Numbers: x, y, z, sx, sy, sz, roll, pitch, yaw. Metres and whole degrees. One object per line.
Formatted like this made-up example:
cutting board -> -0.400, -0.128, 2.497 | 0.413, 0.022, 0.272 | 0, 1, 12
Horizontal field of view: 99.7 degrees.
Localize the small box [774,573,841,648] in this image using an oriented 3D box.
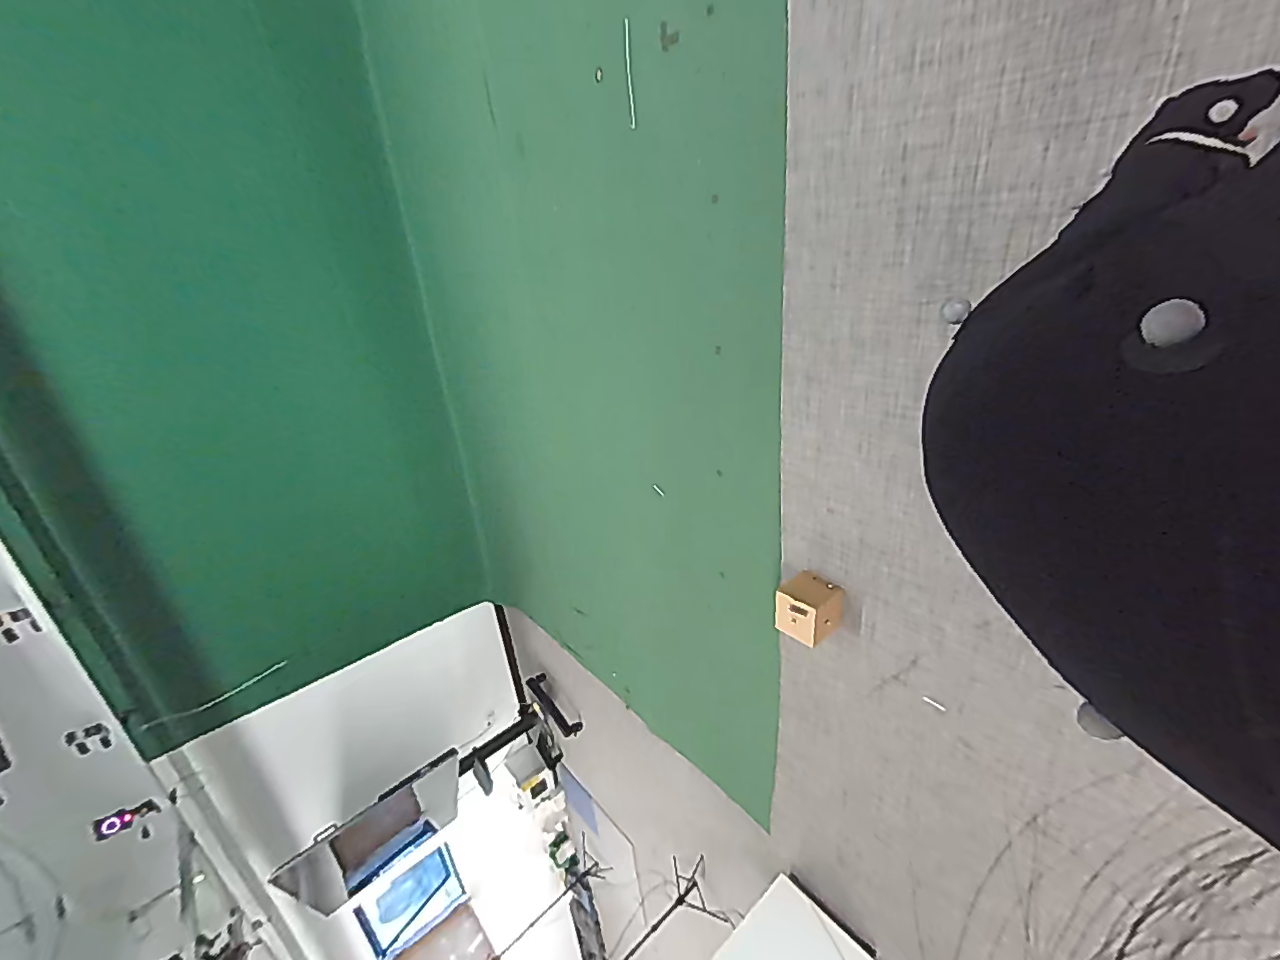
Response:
small box -> 0.607, 0.463, 1.954 | 0.168, 0.176, 0.179 | 23, 127, 45
